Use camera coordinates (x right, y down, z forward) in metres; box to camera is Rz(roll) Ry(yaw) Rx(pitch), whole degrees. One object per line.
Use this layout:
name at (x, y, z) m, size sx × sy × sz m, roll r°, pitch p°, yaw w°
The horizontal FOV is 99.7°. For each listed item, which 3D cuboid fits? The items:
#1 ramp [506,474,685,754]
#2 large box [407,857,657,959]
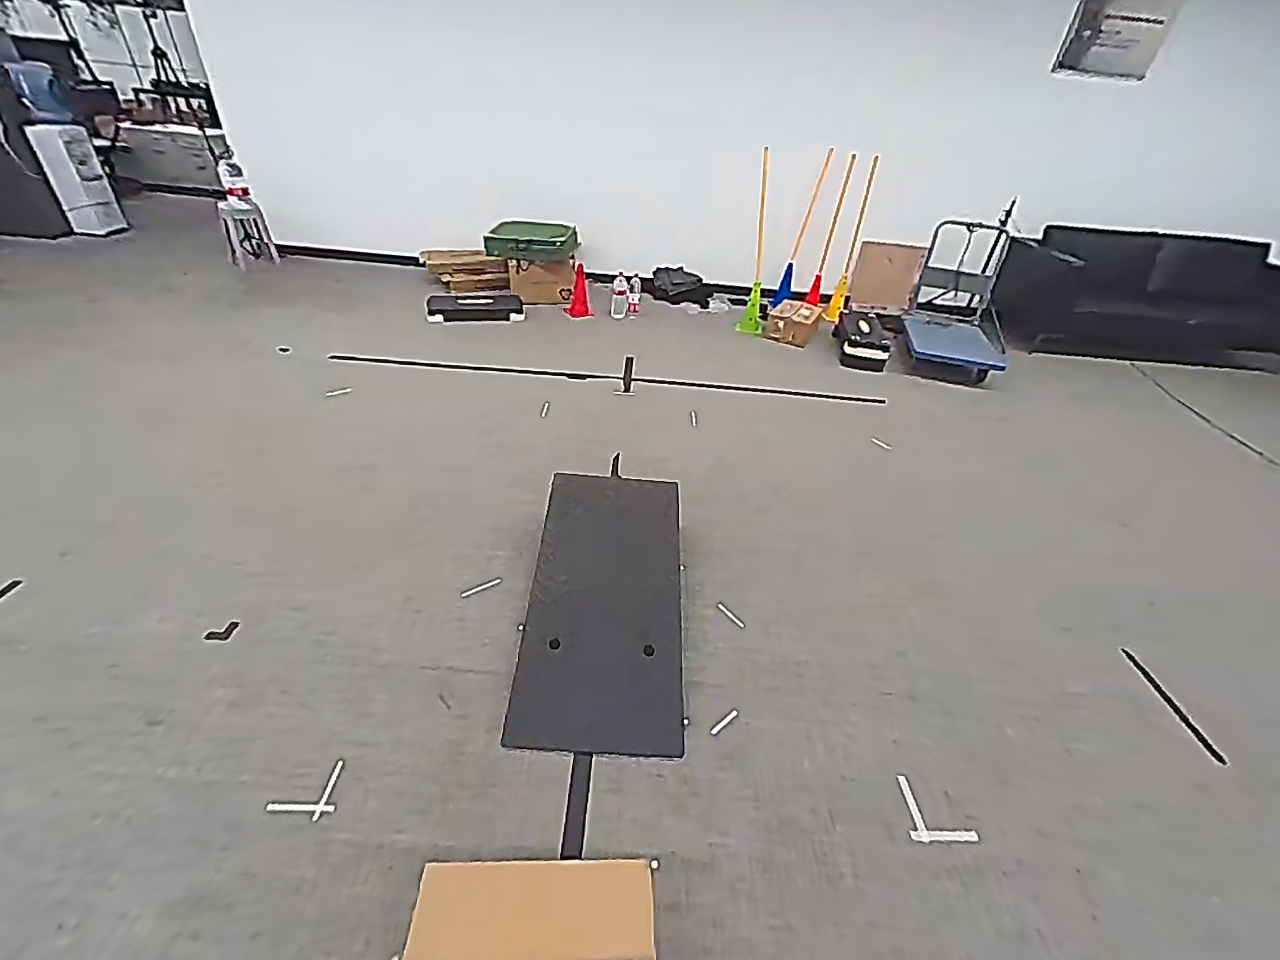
ramp at (-0.098, 0.360, 1.787) m, size 0.509 × 0.206 × 0.991 m, roll 5°, pitch 36°, yaw -4°
large box at (-0.185, 0.894, 0.935) m, size 0.408 × 0.320 × 0.320 m, roll 3°, pitch 36°, yaw -5°
